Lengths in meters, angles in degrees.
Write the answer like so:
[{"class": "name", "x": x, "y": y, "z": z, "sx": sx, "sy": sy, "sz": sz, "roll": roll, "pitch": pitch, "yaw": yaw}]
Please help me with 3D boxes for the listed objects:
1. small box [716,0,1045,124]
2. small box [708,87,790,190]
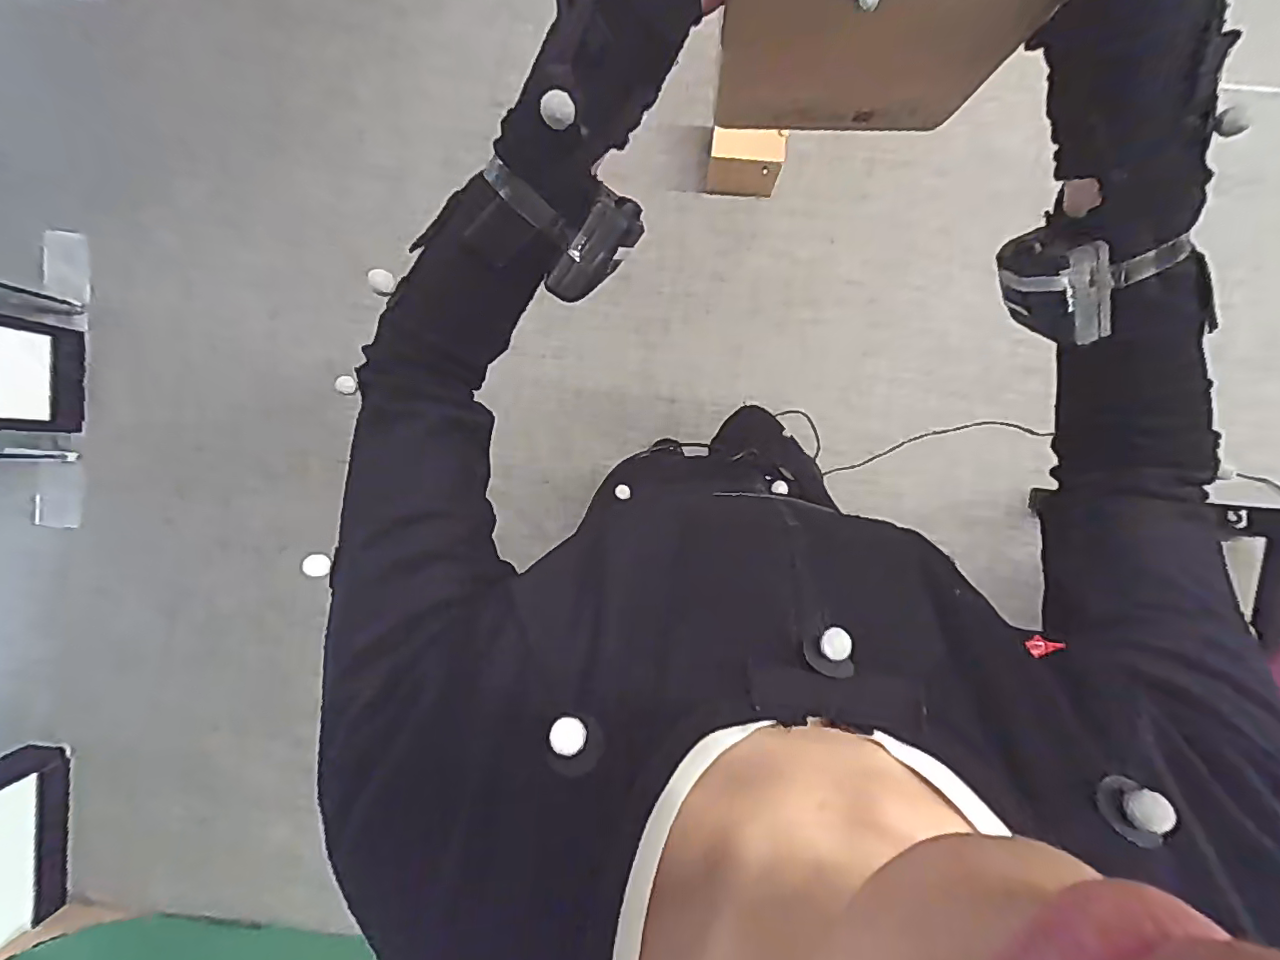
[{"class": "small box", "x": 0.135, "y": -0.340, "z": 0.303, "sx": 0.168, "sy": 0.176, "sz": 0.179, "roll": 4, "pitch": 98, "yaw": 3}, {"class": "small box", "x": 0.268, "y": -0.849, "z": 1.348, "sx": 0.179, "sy": 0.176, "sz": 0.168, "roll": 6, "pitch": 93, "yaw": 2}]
